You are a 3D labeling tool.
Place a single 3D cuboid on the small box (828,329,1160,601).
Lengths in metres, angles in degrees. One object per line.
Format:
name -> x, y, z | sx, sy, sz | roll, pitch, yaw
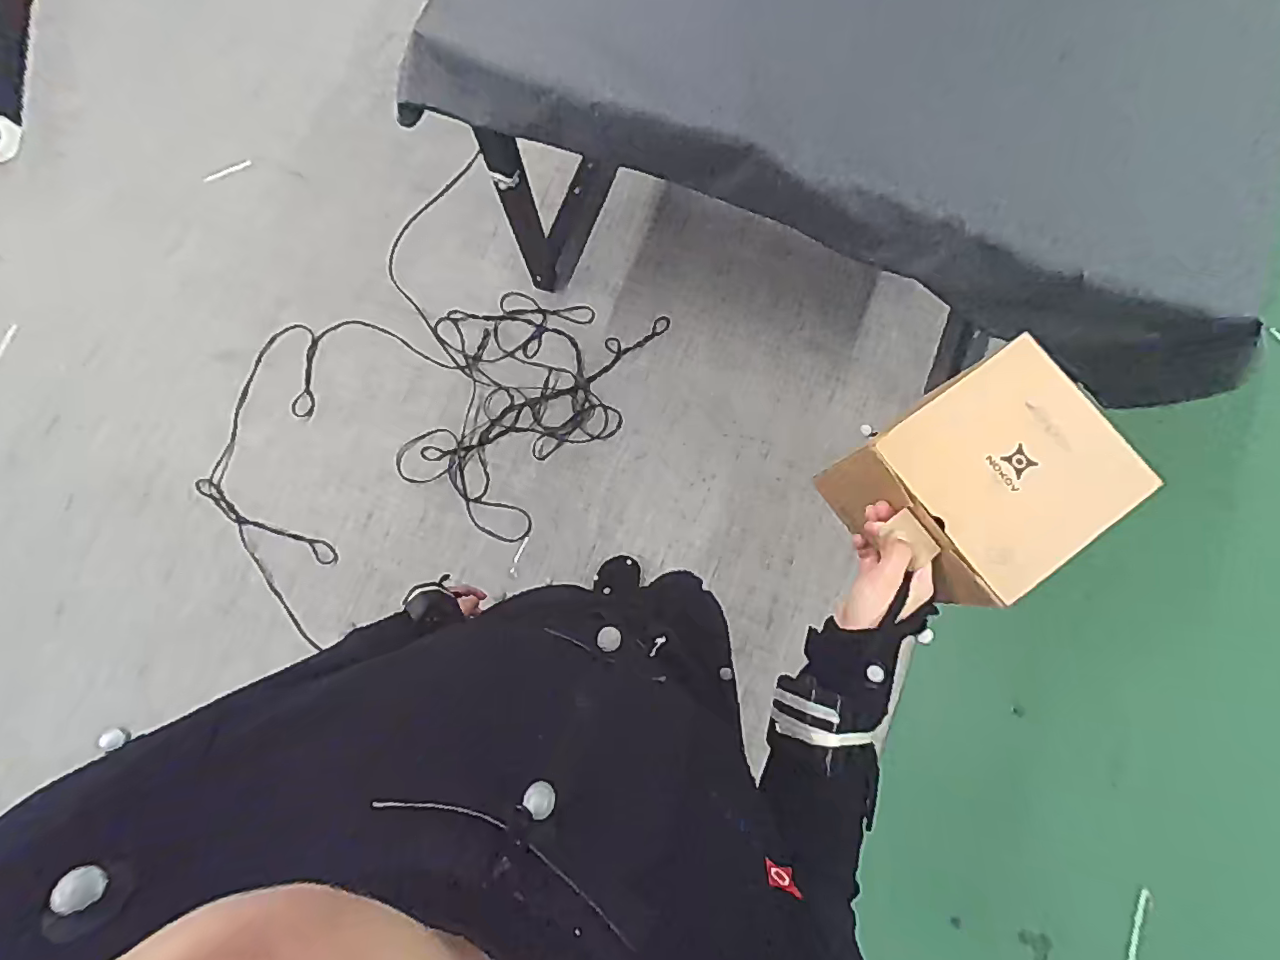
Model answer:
small box -> 0.307, -0.002, 0.520 | 0.179, 0.176, 0.168 | -36, 82, -6
